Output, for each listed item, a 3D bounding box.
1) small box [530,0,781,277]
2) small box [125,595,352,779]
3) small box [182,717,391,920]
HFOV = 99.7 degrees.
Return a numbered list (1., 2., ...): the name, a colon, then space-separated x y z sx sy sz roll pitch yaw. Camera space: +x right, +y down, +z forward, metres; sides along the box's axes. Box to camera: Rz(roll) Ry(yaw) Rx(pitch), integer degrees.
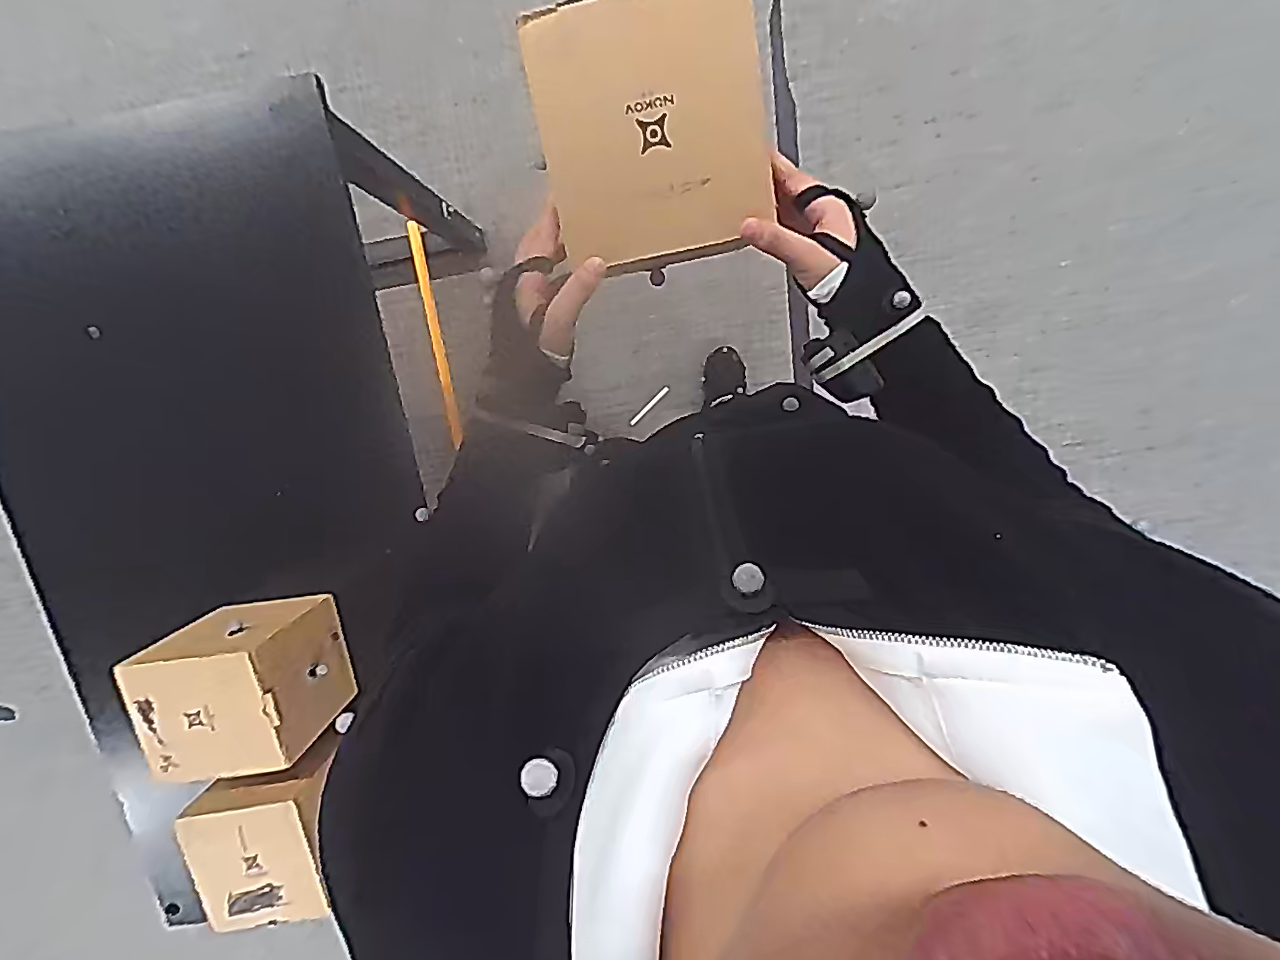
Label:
1. small box: 0.016 -0.288 0.478 0.168 0.176 0.179 -10 109 4
2. small box: -0.526 0.271 0.744 0.179 0.176 0.168 -8 101 2
3. small box: -0.492 0.480 0.784 0.168 0.176 0.179 -11 100 3
